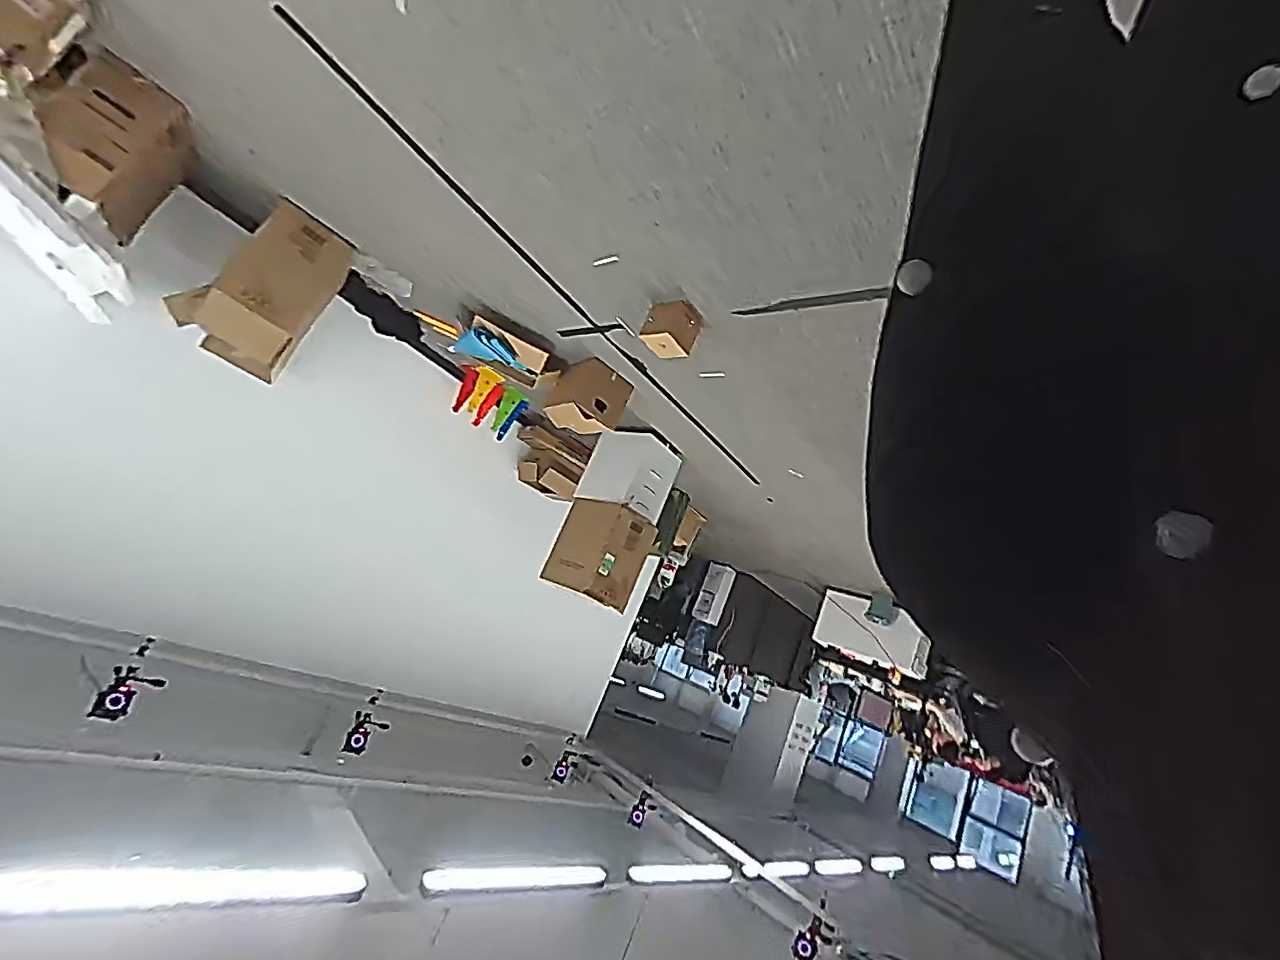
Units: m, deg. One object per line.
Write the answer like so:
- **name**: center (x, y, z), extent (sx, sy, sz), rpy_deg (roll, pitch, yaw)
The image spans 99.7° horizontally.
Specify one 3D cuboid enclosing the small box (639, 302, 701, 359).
- **small box**: center (0.134, -0.648, 2.348), extent (0.179, 0.176, 0.168), rpy_deg (7, 158, 45)
